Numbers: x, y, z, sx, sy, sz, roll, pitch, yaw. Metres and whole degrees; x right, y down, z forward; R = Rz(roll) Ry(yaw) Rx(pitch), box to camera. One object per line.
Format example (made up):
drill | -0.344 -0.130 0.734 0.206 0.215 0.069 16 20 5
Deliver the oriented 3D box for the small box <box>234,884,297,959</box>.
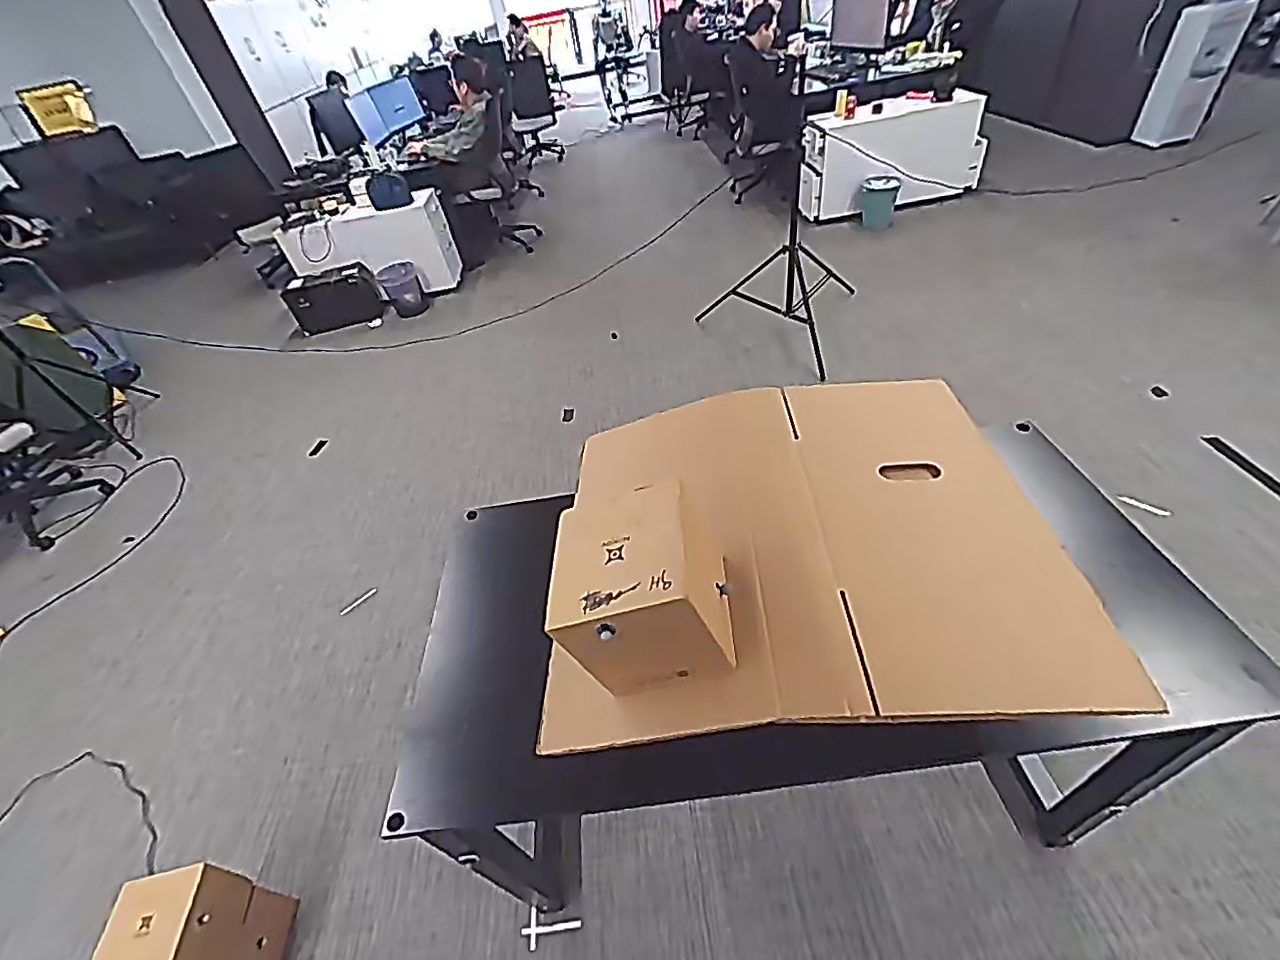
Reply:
small box | -0.909 1.040 1.208 0.168 0.176 0.179 -12 43 0

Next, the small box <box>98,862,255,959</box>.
small box | -0.935 0.919 1.102 0.168 0.176 0.179 -13 41 -3

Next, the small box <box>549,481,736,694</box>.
small box | 0.010 0.135 0.668 0.168 0.176 0.179 -18 40 17
